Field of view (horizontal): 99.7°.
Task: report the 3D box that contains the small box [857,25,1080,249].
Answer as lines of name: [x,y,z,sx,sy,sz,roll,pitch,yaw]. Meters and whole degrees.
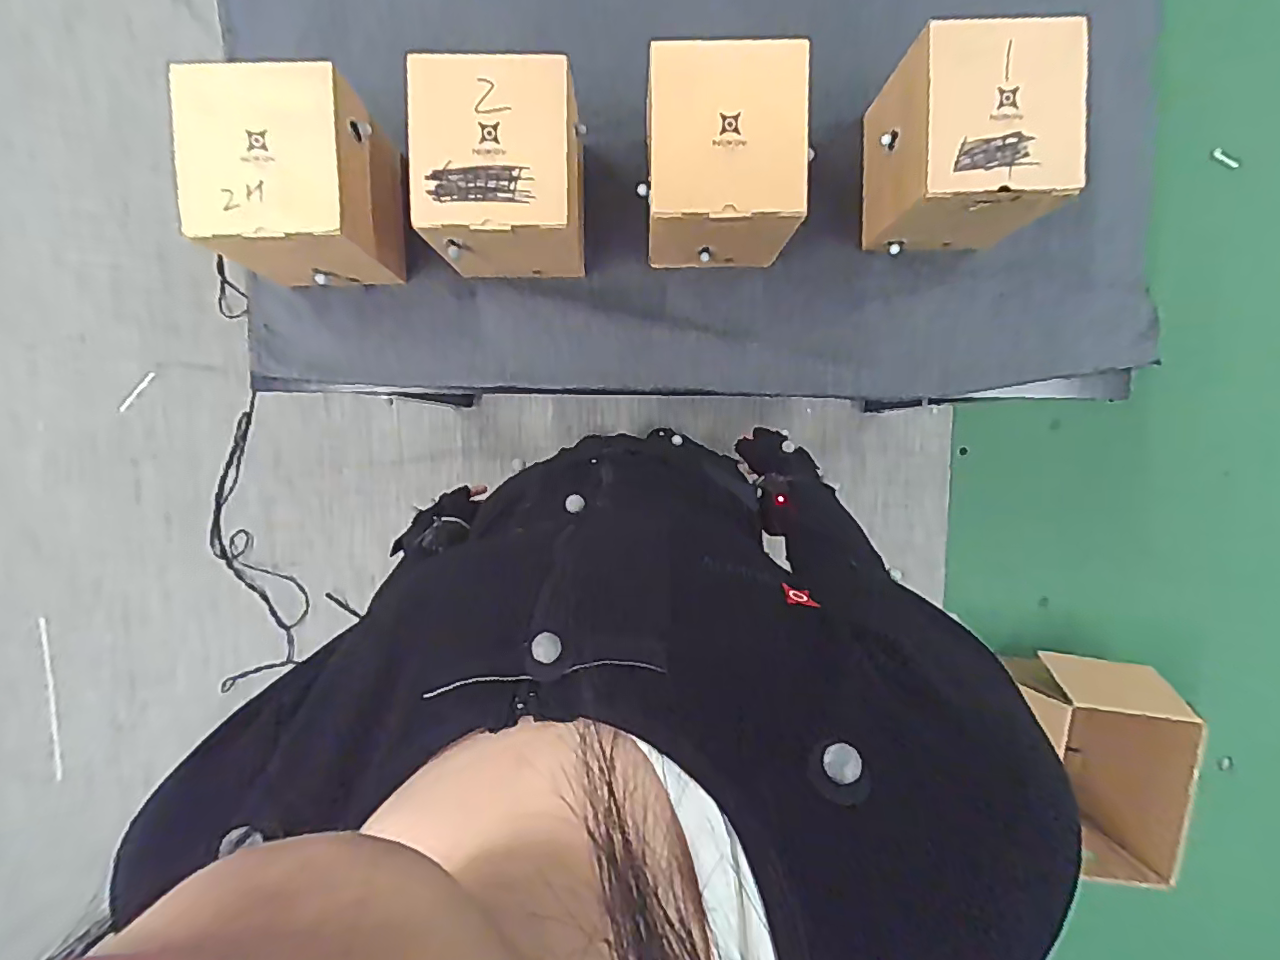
small box: [0.373,-0.388,0.644,0.168,0.176,0.179,-1,94,-1]

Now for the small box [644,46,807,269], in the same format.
small box: [0.091,-0.368,0.645,0.168,0.176,0.179,-1,95,-1]

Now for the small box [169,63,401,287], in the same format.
small box: [-0.396,-0.340,0.633,0.168,0.176,0.179,-2,93,-2]
